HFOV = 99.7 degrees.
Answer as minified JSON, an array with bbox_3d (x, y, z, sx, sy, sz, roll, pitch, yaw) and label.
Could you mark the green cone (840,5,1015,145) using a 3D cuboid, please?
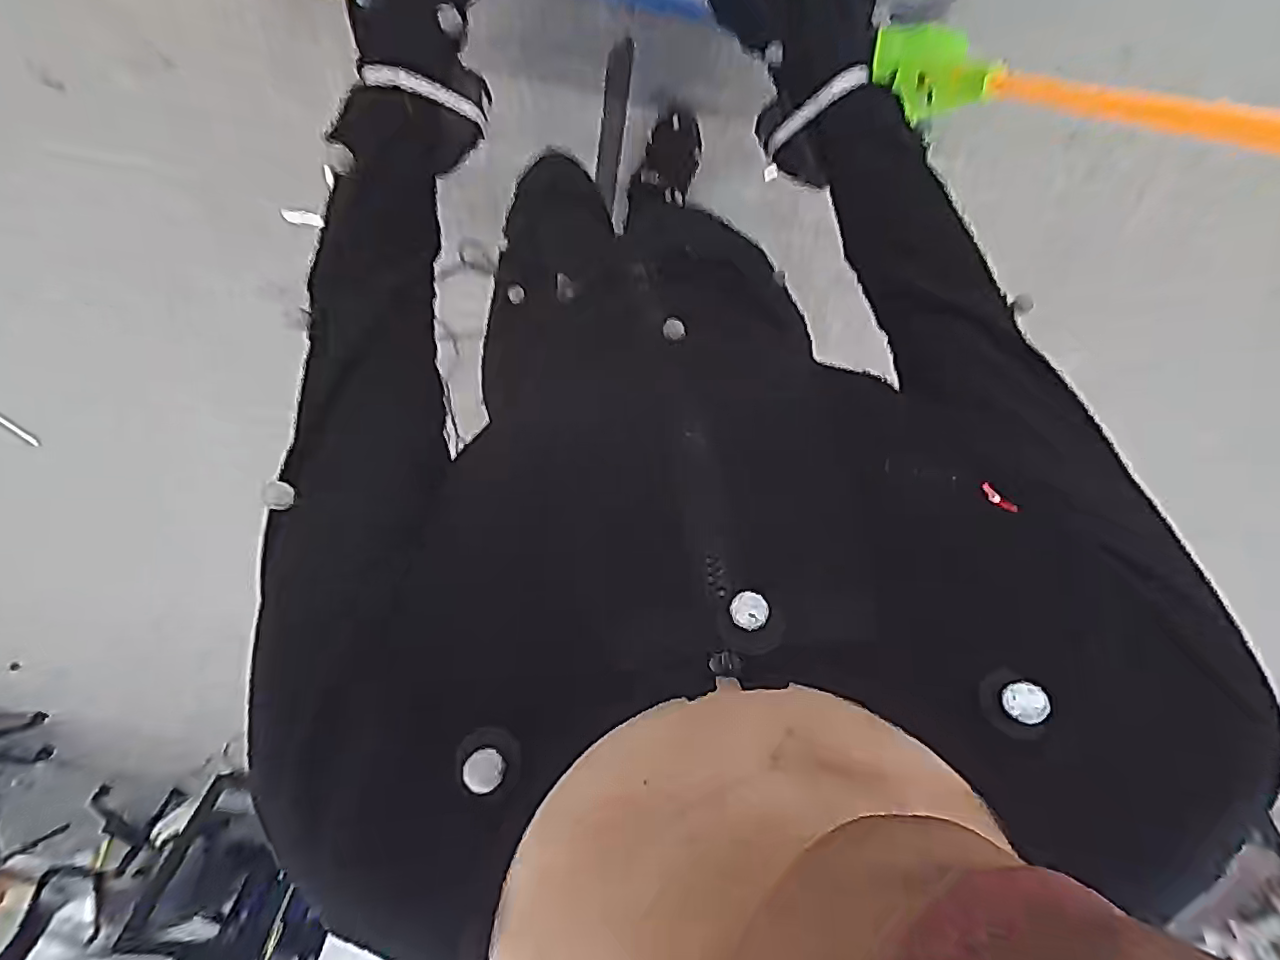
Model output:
[{"bbox_3d":[0.537,-0.714,0.964,0.202,0.368,0.200,9,126,-10],"label":"green cone"}]
